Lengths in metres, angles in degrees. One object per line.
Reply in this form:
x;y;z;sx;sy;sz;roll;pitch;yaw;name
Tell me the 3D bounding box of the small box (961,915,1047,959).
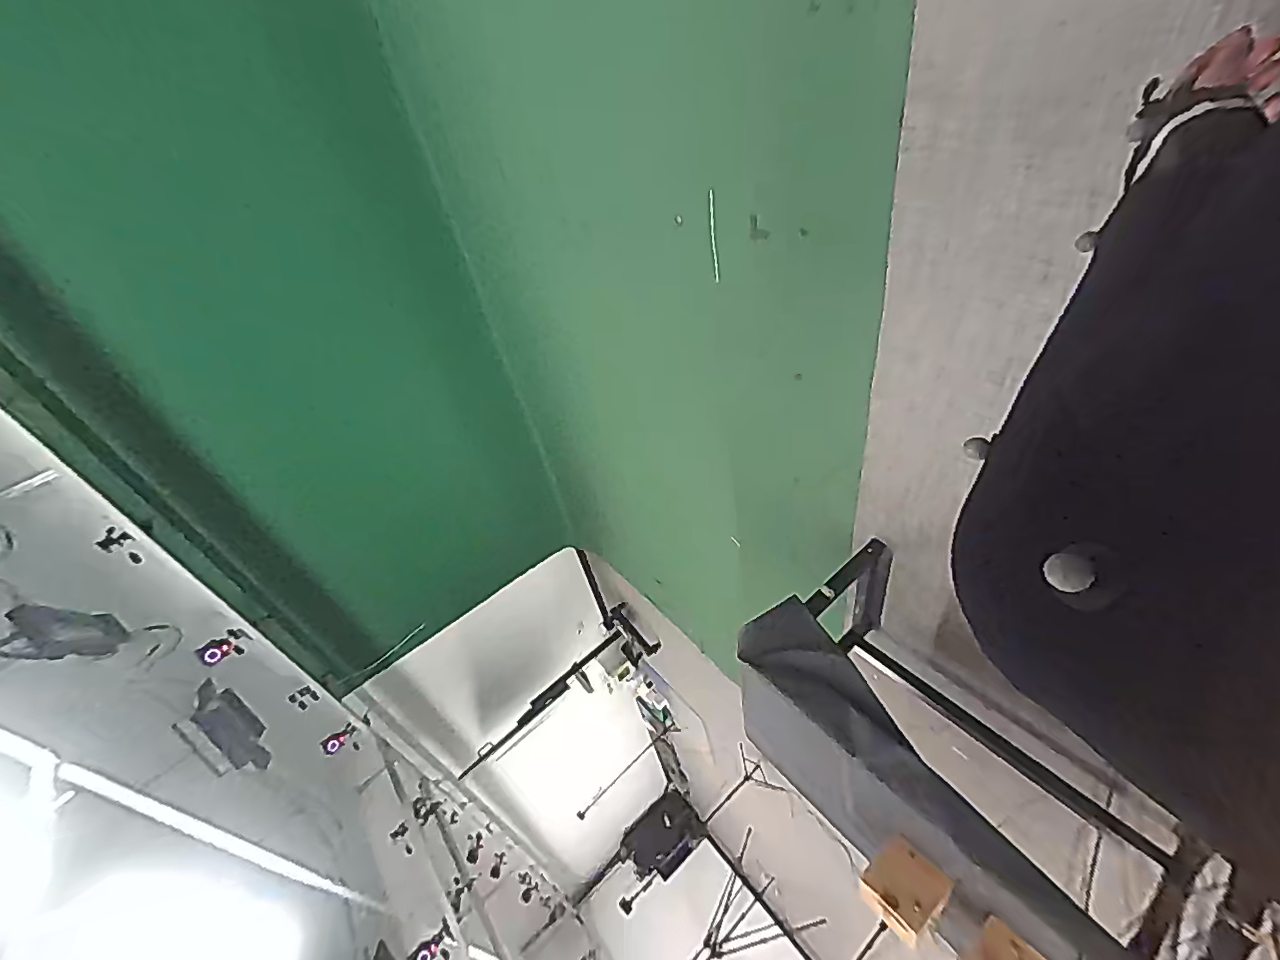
0.882;1.203;1.288;0.168;0.176;0.179;26;143;51;small box
